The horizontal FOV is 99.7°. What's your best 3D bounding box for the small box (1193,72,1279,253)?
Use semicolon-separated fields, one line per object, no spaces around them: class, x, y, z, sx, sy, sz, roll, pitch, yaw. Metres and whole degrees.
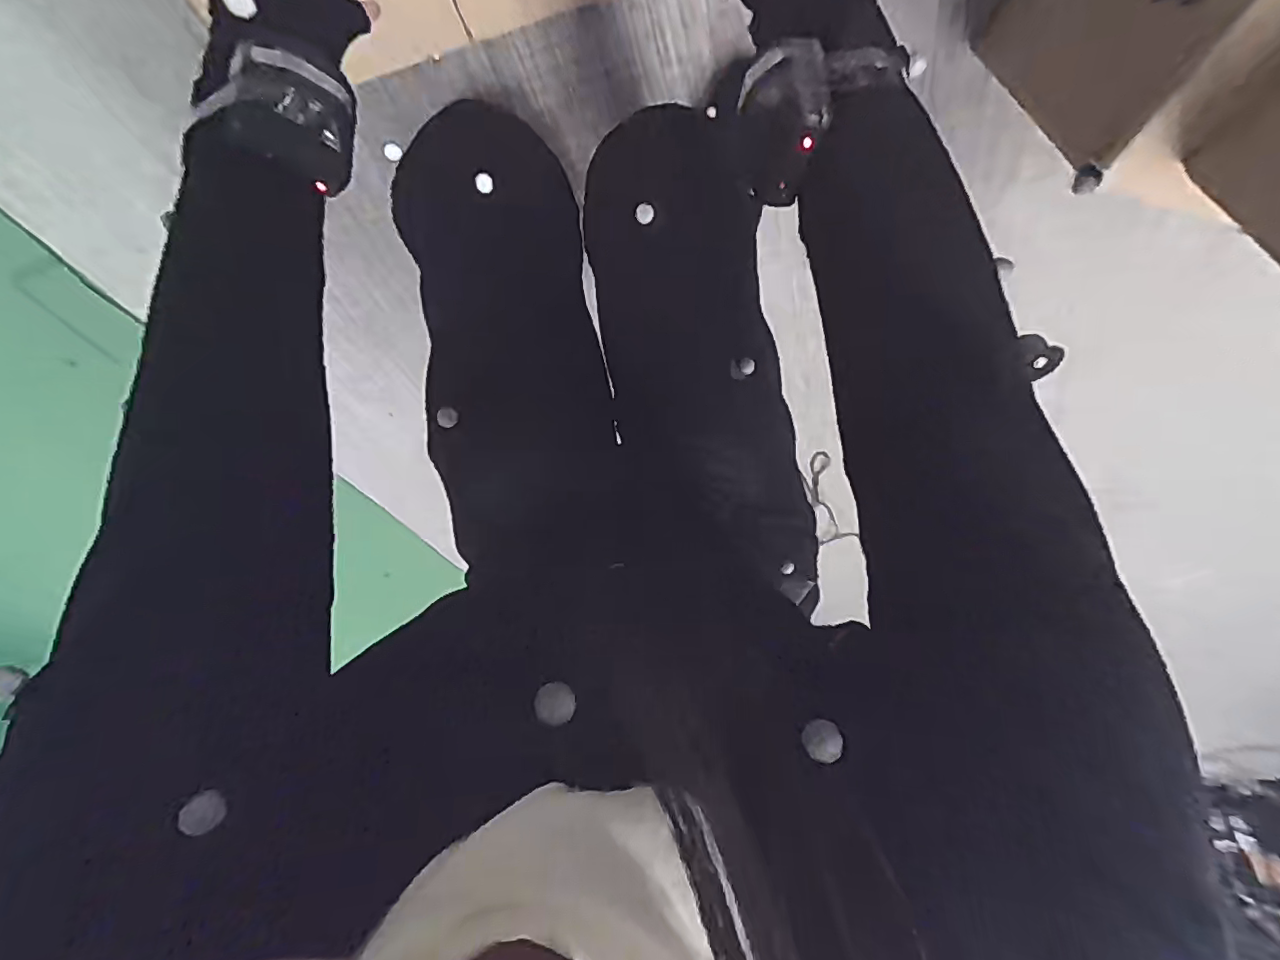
small box;0.531;-0.220;0.339;0.168;0.176;0.179;11;145;-9
